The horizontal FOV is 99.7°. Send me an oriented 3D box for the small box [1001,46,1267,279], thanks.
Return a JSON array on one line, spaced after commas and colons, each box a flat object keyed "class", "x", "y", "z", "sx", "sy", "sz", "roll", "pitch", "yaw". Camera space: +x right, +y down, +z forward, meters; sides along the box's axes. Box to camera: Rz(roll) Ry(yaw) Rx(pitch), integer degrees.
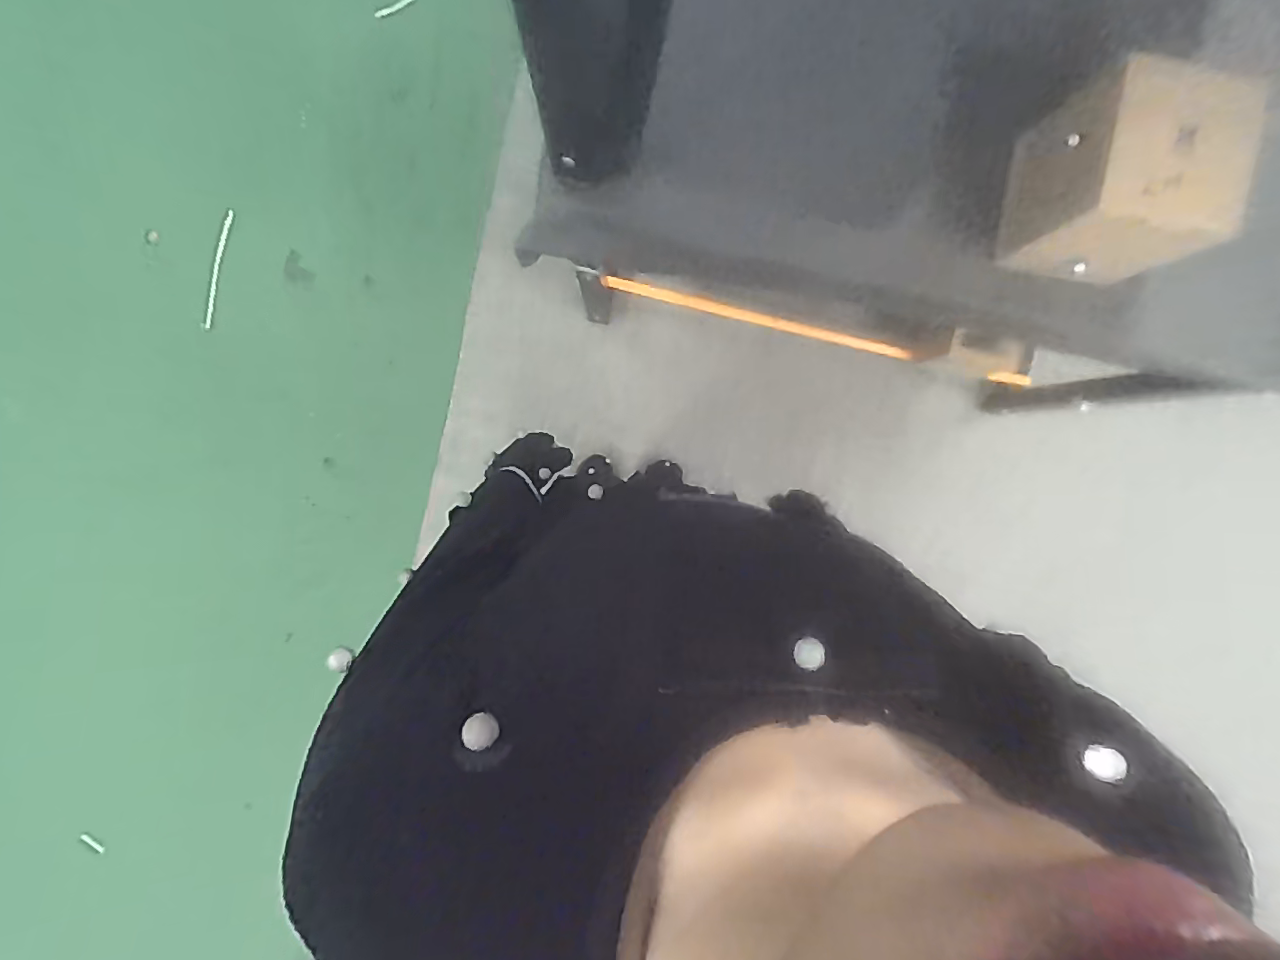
[{"class": "small box", "x": 0.593, "y": -0.377, "z": 0.673, "sx": 0.168, "sy": 0.176, "sz": 0.179, "roll": 10, "pitch": 92, "yaw": -2}]
